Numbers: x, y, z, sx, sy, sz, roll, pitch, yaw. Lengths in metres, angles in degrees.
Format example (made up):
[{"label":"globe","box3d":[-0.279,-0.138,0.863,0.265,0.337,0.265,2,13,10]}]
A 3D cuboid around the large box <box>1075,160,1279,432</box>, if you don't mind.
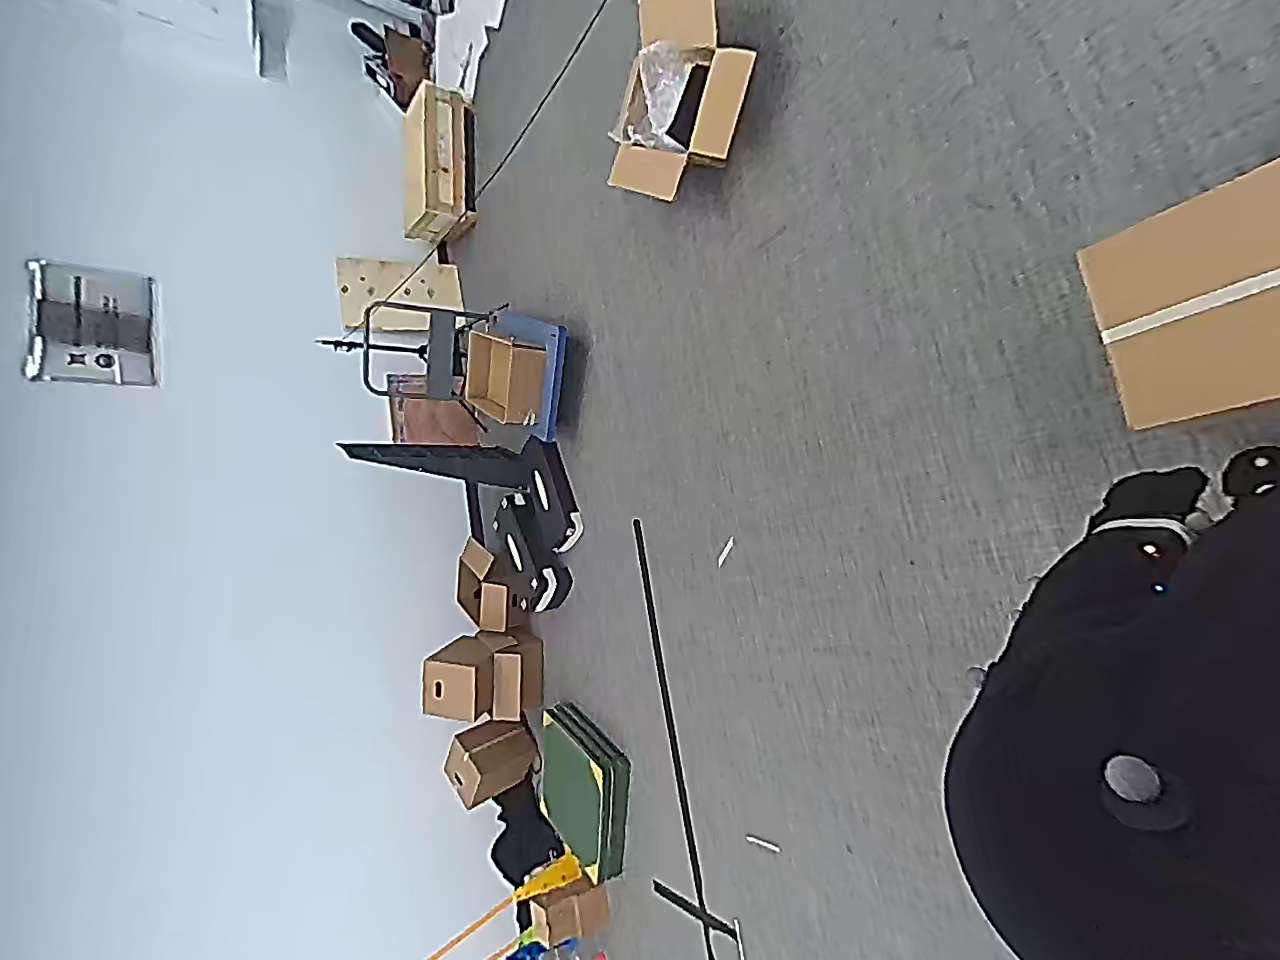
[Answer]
[{"label":"large box","box3d":[0.982,-0.278,0.812,0.408,0.320,0.320,-22,76,52]}]
